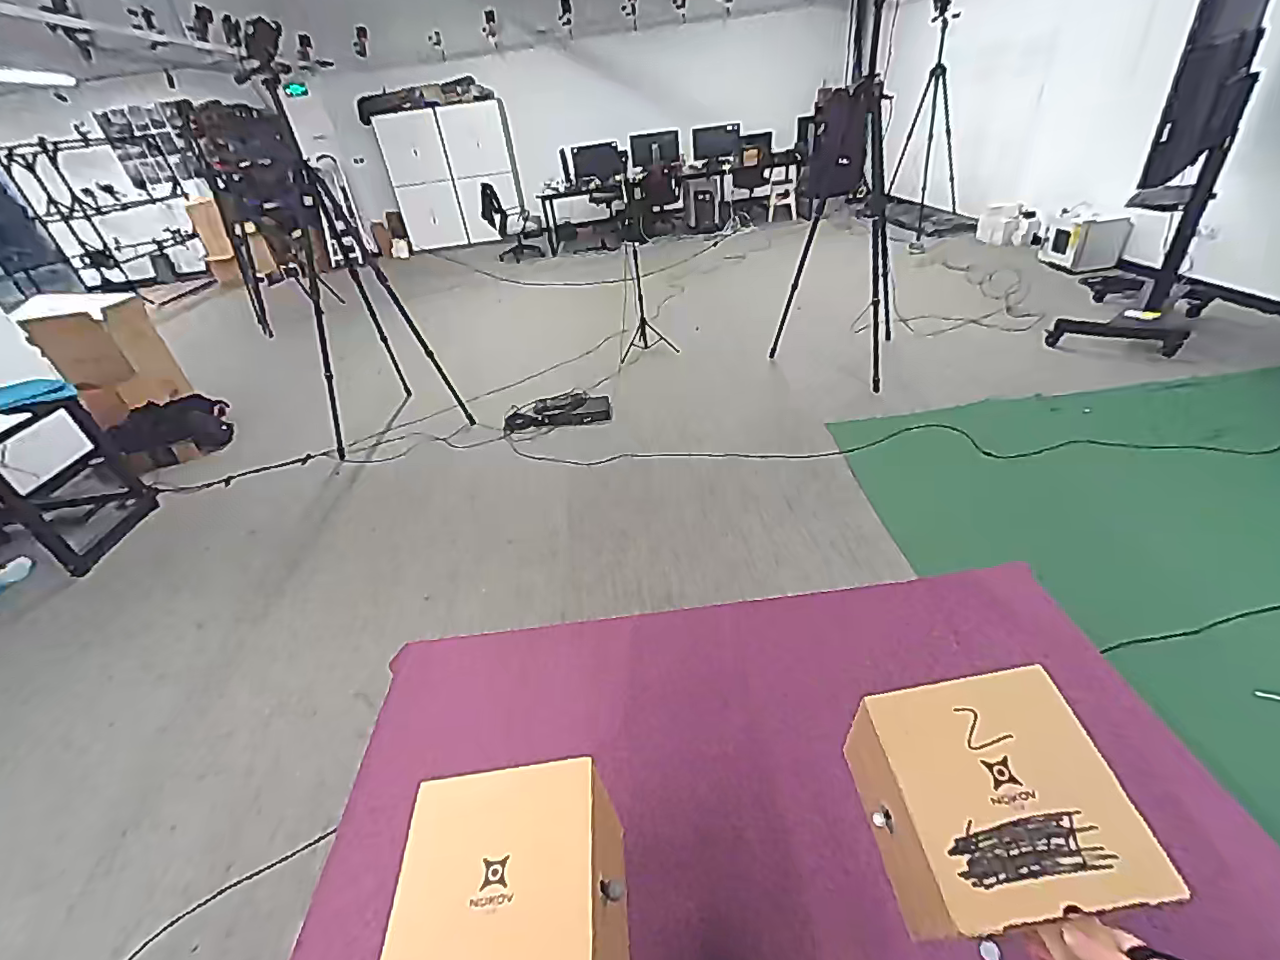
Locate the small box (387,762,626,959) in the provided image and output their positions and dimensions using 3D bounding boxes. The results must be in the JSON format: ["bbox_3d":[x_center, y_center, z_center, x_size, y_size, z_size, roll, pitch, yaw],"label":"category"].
[{"bbox_3d":[-0.107,0.396,0.500,0.168,0.176,0.179,-10,39,2],"label":"small box"}]
